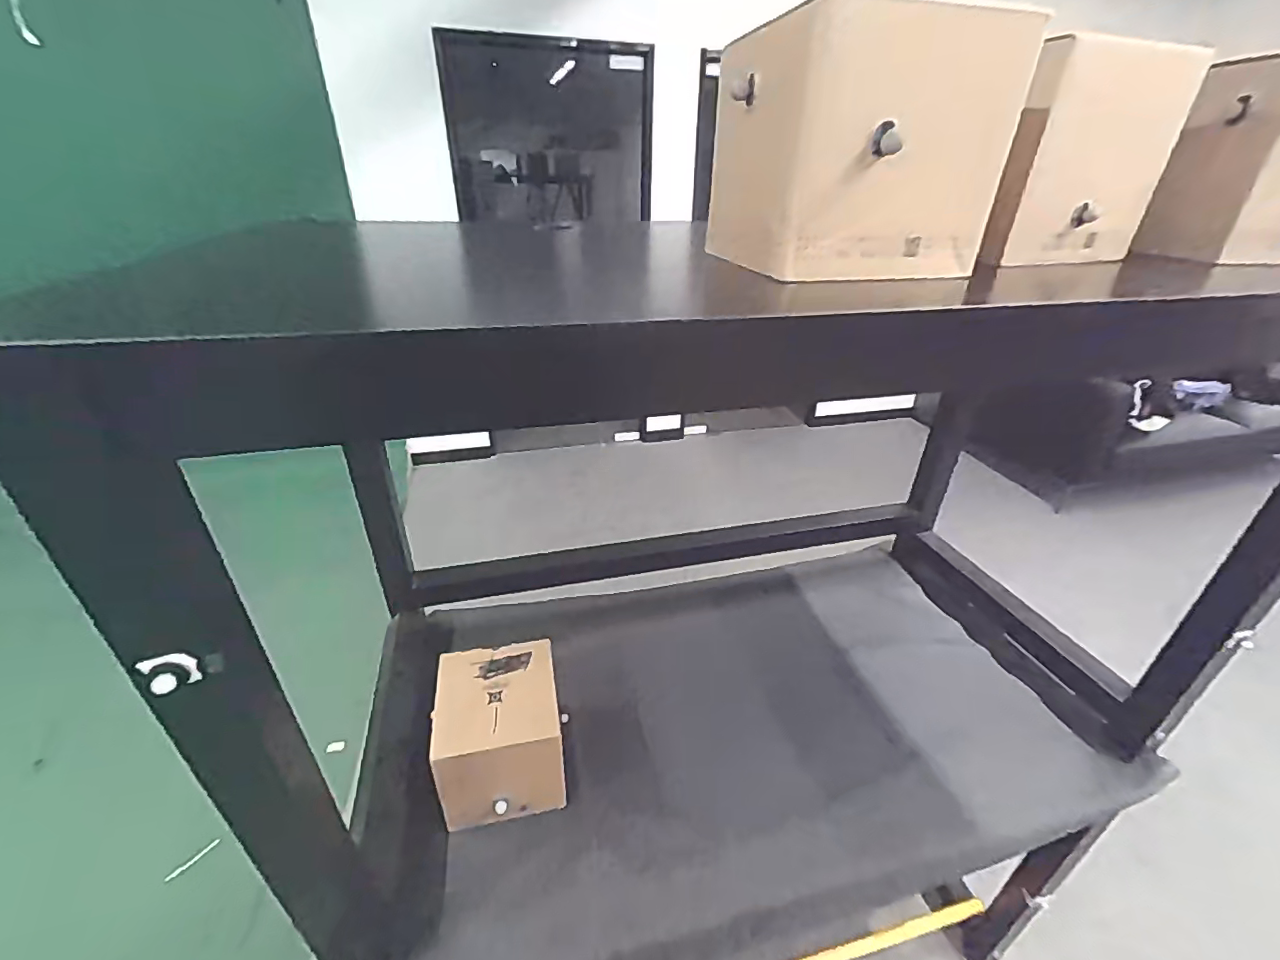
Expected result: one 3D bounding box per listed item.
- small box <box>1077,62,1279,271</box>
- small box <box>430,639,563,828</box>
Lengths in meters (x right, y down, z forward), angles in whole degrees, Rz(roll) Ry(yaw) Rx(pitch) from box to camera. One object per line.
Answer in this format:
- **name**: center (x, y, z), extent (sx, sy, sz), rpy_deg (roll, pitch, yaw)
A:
- **small box**: center (0.619, -0.316, 0.559), extent (0.168, 0.176, 0.179), rpy_deg (-1, 30, -3)
- **small box**: center (-0.206, 0.370, 0.802), extent (0.168, 0.176, 0.179), rpy_deg (-6, 31, -12)
